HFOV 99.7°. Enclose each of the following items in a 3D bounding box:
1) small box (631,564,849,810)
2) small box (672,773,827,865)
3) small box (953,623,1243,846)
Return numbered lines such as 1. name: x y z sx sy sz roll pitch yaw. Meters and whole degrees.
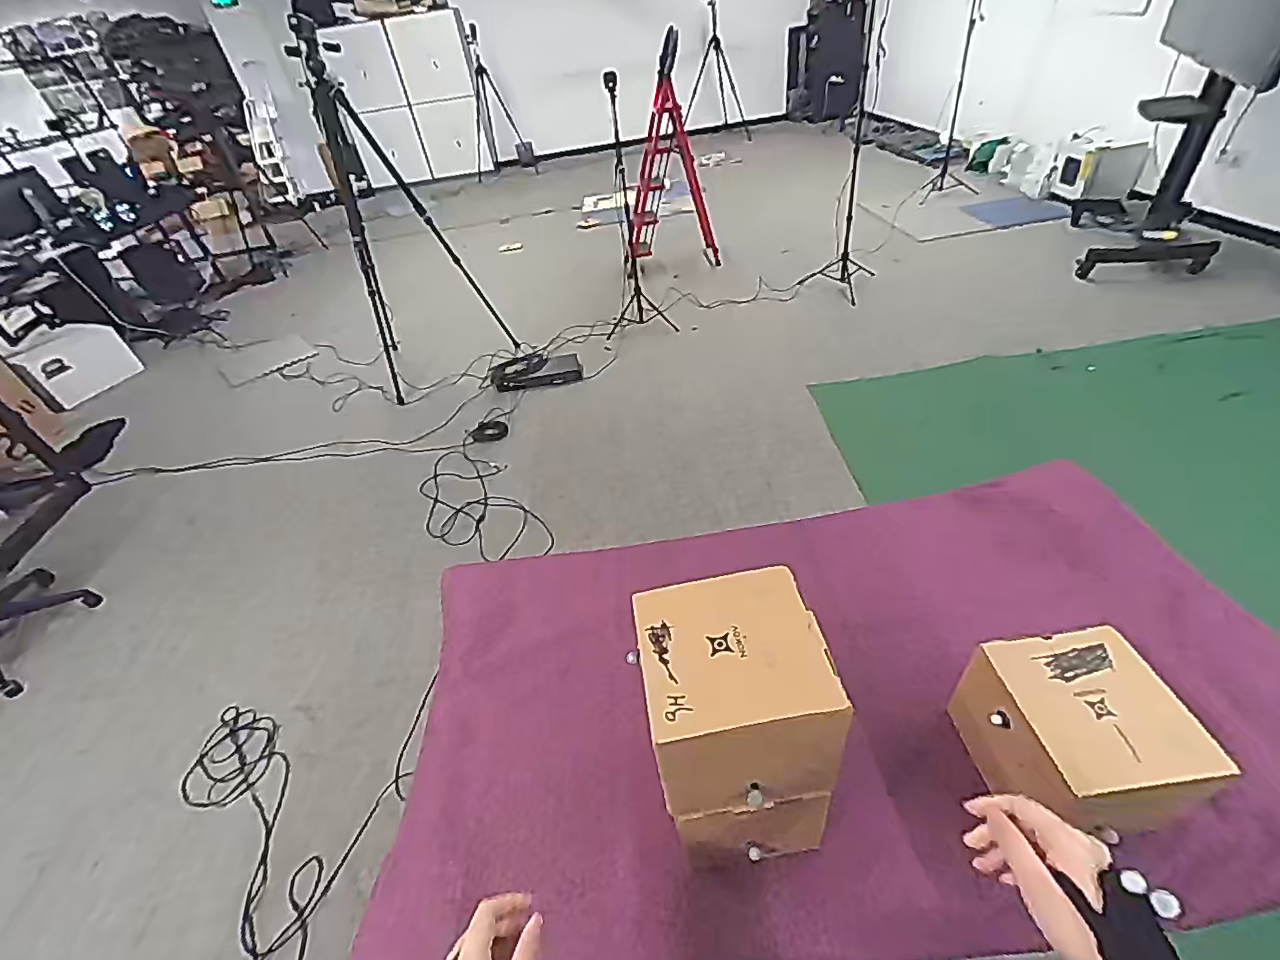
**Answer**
1. small box: 0.092 0.214 0.563 0.179 0.176 0.168 -9 38 -1
2. small box: 0.115 0.338 0.668 0.168 0.176 0.179 -10 39 1
3. small box: 0.507 0.299 0.639 0.168 0.176 0.179 -9 40 1
